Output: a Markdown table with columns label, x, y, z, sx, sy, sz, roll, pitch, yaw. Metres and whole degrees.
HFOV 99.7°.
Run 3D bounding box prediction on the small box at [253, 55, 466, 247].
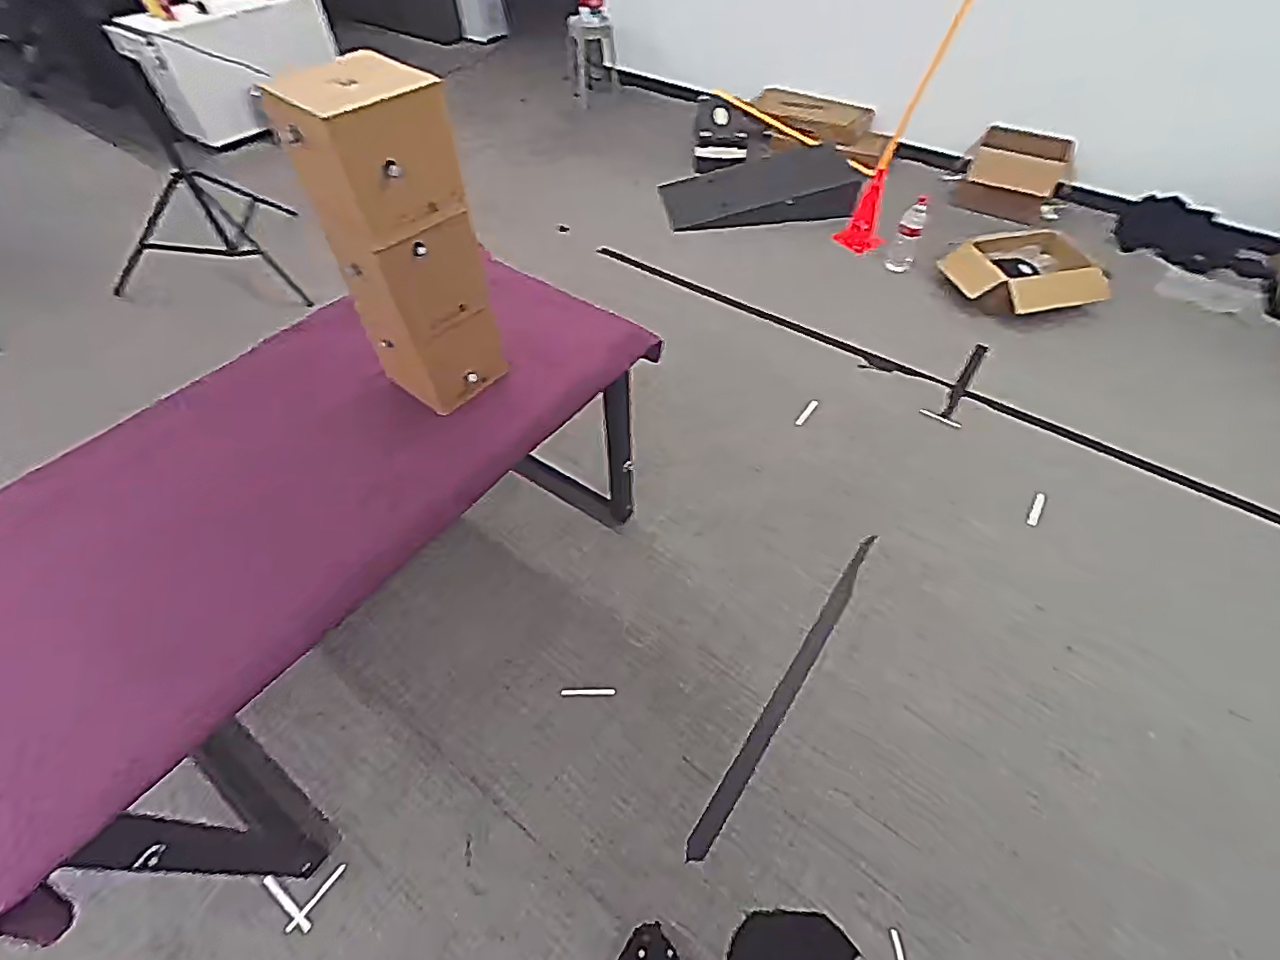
| label | x | y | z | sx | sy | sz | roll | pitch | yaw |
| --- | --- | --- | --- | --- | --- | --- | --- | --- | --- |
| small box | -0.371 | -0.448 | 0.748 | 0.179 | 0.176 | 0.168 | 34 | 61 | 24 |

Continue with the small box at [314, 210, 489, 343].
| label | x | y | z | sx | sy | sz | roll | pitch | yaw |
| --- | --- | --- | --- | --- | --- | --- | --- | --- | --- |
| small box | -0.377 | -0.353 | 0.881 | 0.179 | 0.176 | 0.168 | 34 | 61 | 24 |

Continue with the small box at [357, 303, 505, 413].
| label | x | y | z | sx | sy | sz | roll | pitch | yaw |
| --- | --- | --- | --- | --- | --- | --- | --- | --- | --- |
| small box | -0.381 | -0.256 | 1.013 | 0.179 | 0.176 | 0.168 | 33 | 60 | 22 |
